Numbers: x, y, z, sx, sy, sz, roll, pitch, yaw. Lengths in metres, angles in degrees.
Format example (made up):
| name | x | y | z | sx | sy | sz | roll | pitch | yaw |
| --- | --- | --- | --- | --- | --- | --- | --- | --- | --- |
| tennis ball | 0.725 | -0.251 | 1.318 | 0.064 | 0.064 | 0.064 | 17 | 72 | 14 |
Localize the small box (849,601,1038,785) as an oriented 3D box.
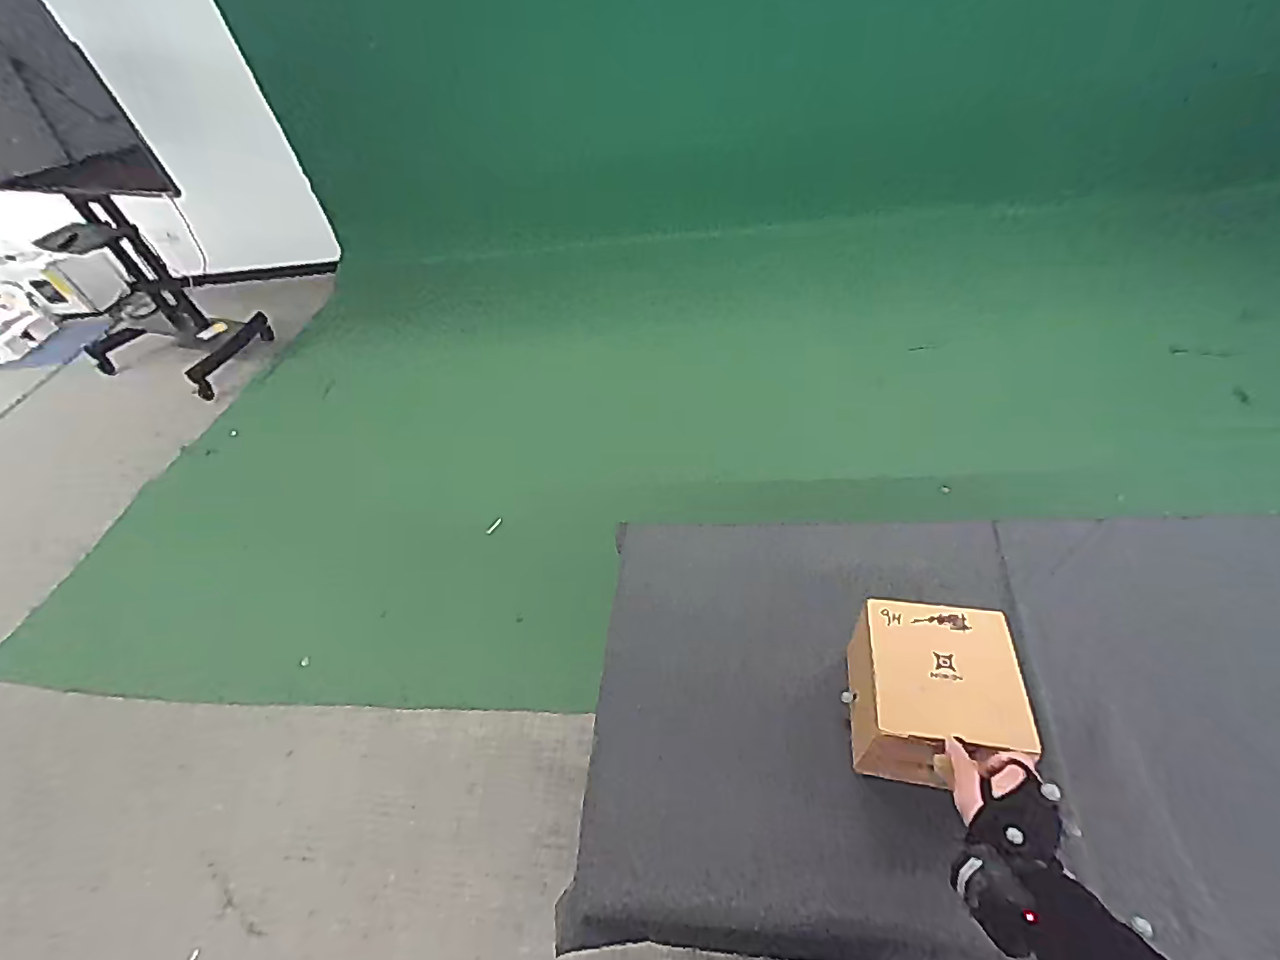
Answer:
| name | x | y | z | sx | sy | sz | roll | pitch | yaw |
| --- | --- | --- | --- | --- | --- | --- | --- | --- | --- |
| small box | 0.379 | 0.282 | 0.714 | 0.168 | 0.176 | 0.179 | 0 | 47 | 12 |
